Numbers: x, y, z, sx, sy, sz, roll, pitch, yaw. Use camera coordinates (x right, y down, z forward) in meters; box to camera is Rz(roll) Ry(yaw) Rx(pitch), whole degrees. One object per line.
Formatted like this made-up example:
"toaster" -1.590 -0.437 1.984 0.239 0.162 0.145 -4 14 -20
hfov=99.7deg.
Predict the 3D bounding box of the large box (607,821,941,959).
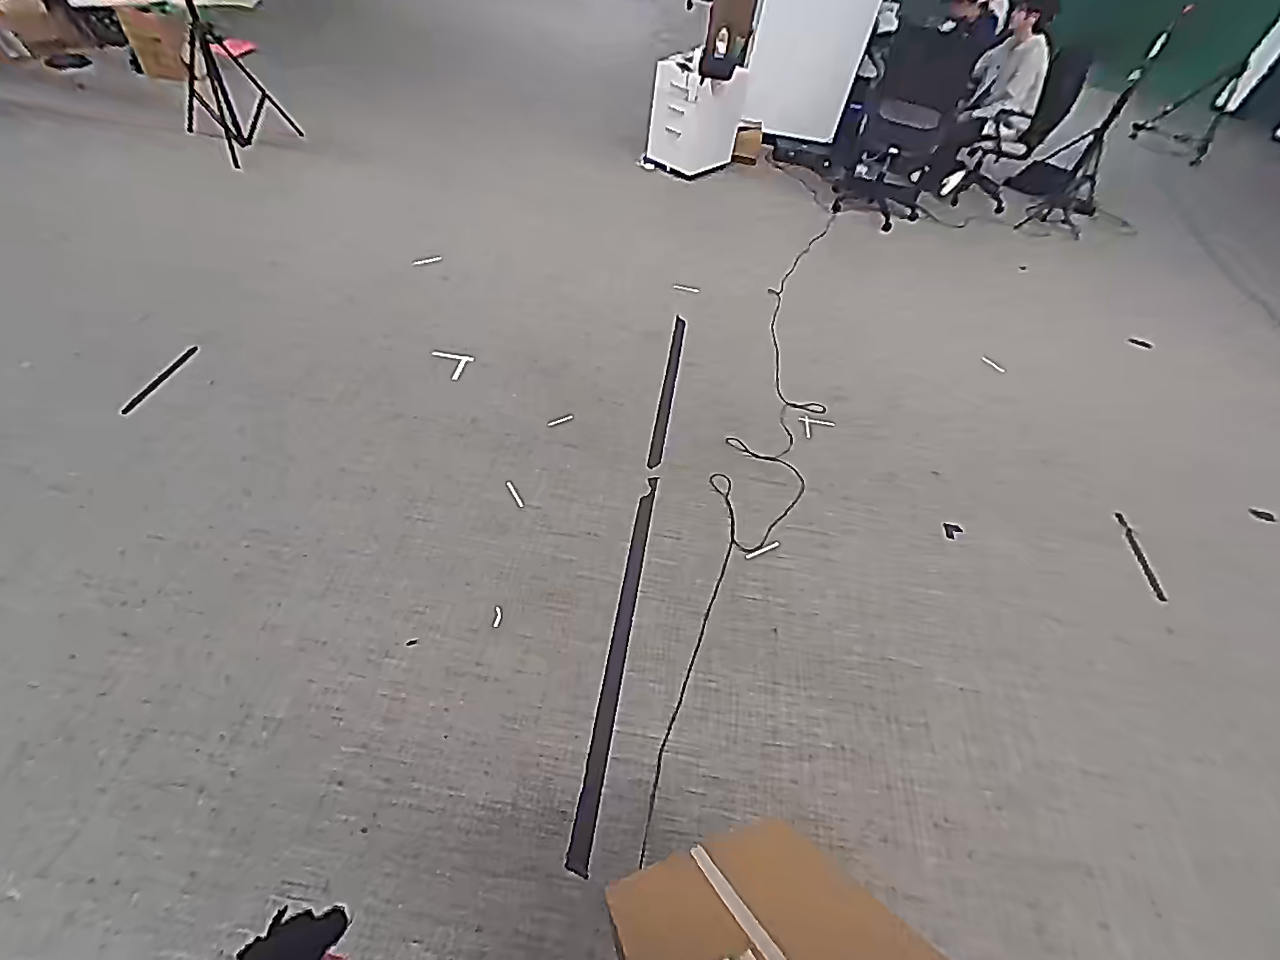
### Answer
"large box" 0.177 0.717 0.669 0.320 0.408 0.320 -13 85 -17
